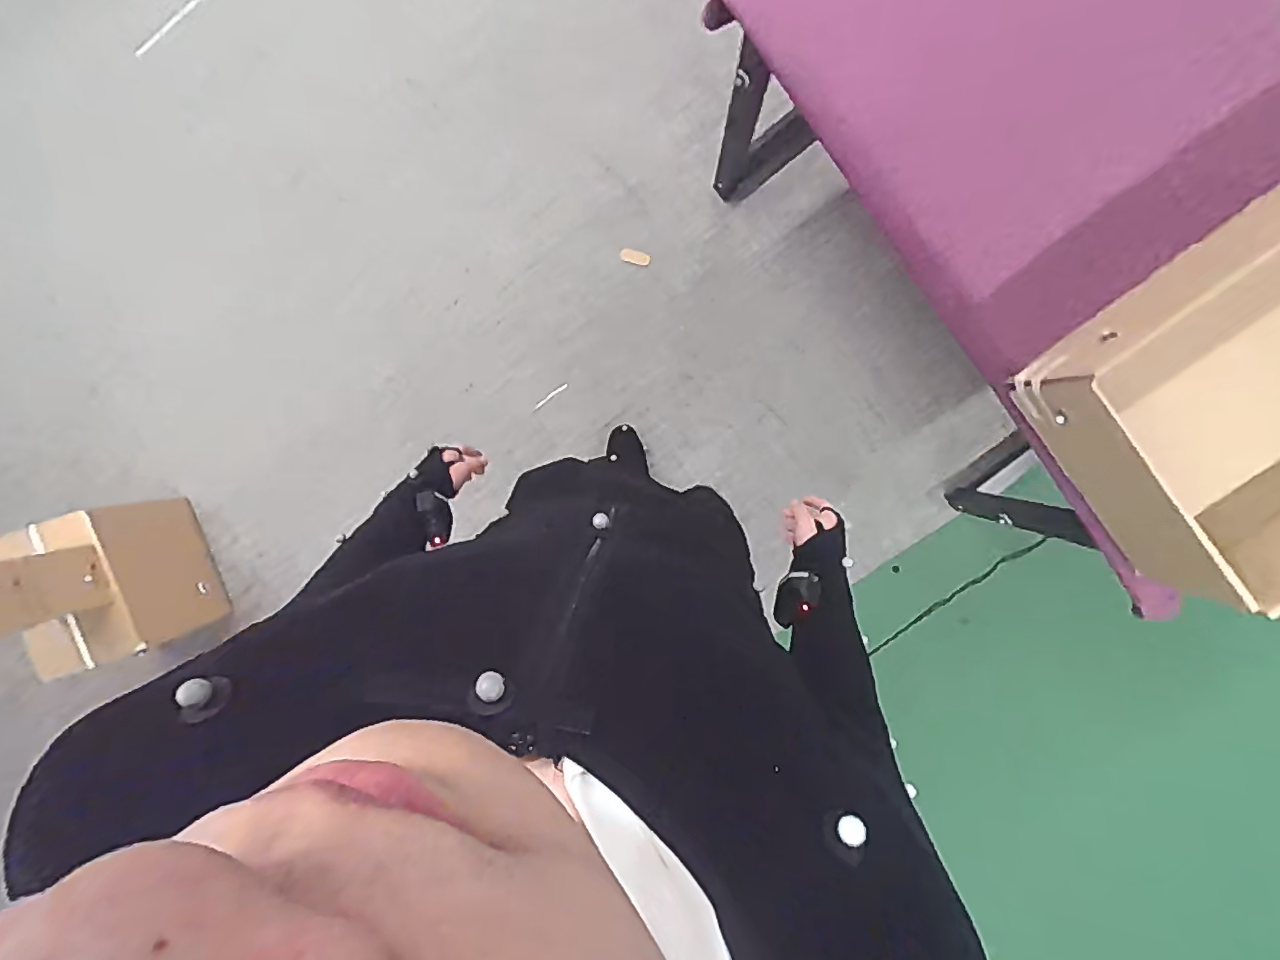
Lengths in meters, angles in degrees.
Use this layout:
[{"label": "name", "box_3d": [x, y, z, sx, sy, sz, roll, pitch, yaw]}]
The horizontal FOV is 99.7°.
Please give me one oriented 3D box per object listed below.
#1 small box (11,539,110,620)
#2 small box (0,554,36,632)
[{"label": "small box", "box_3d": [-1.492, 0.258, 1.338, 0.179, 0.176, 0.168, -16, 95, 2]}, {"label": "small box", "box_3d": [-1.490, 0.274, 1.176, 0.179, 0.176, 0.168, -17, 94, 3]}]
